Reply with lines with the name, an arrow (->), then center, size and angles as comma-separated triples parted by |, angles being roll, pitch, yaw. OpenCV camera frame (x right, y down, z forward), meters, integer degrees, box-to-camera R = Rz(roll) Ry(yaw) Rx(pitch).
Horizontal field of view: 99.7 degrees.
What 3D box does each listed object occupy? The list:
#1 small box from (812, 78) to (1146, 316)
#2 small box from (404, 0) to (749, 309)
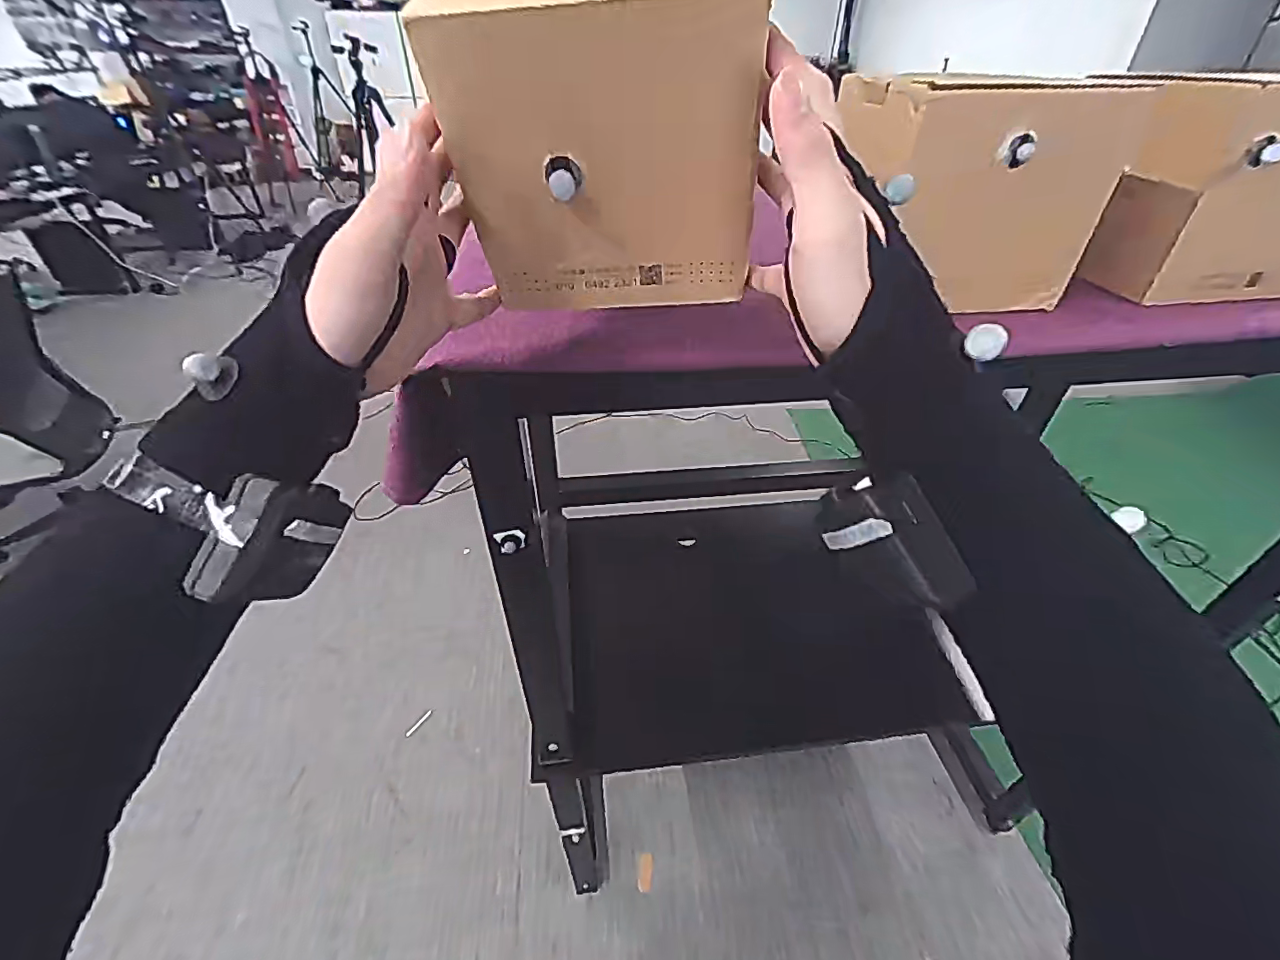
small box -> 0.268, -0.255, 0.487 | 0.179, 0.176, 0.168 | -2, 38, -3
small box -> -0.020, -0.229, 0.355 | 0.168, 0.176, 0.179 | -2, 55, 5
